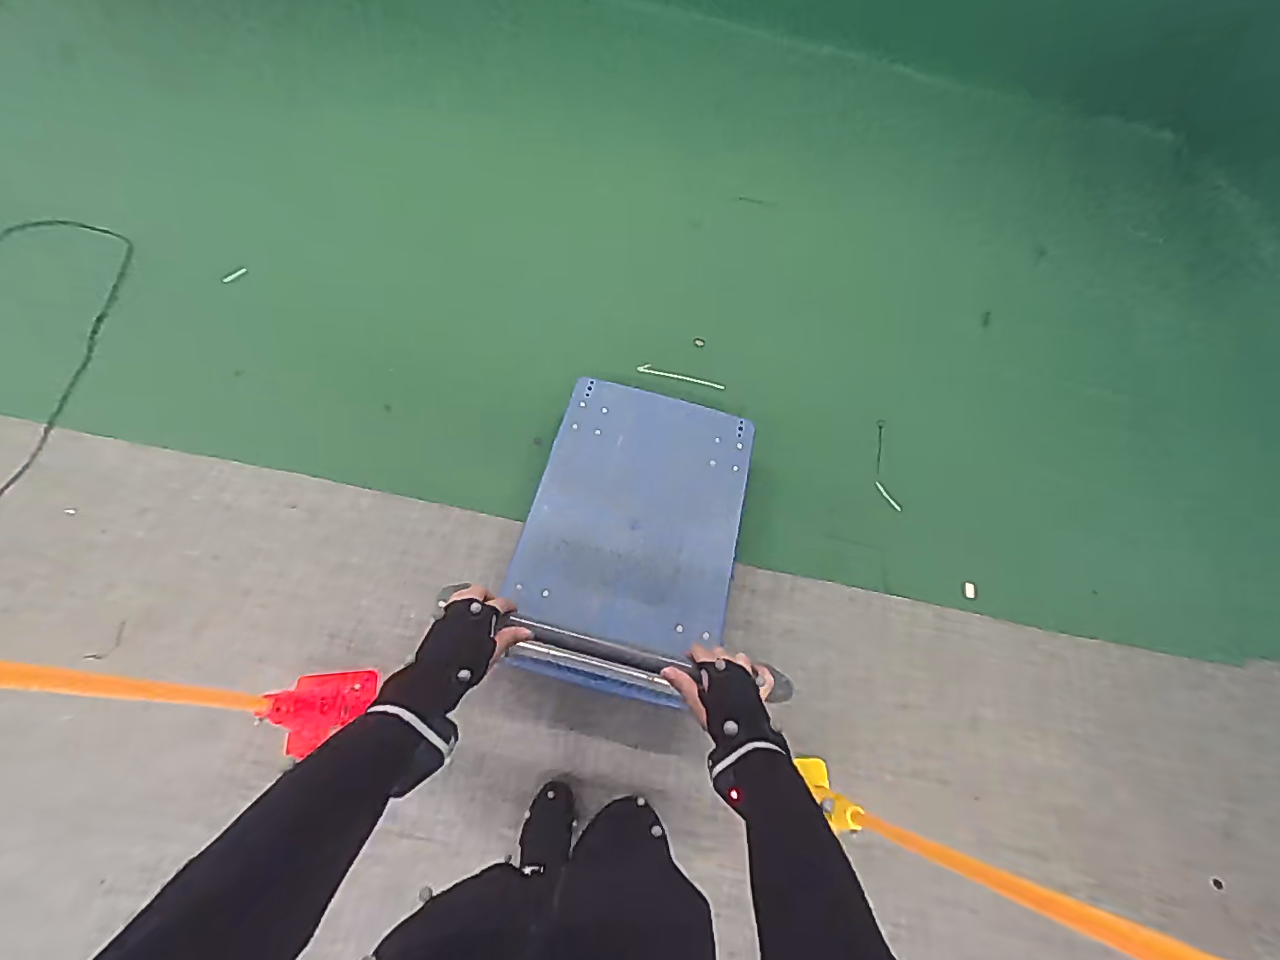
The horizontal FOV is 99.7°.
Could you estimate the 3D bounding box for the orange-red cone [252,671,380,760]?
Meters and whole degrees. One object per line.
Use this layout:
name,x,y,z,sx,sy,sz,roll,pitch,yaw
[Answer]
orange-red cone,-0.749,0.510,1.199,0.199,0.360,0.198,-2,64,-6
